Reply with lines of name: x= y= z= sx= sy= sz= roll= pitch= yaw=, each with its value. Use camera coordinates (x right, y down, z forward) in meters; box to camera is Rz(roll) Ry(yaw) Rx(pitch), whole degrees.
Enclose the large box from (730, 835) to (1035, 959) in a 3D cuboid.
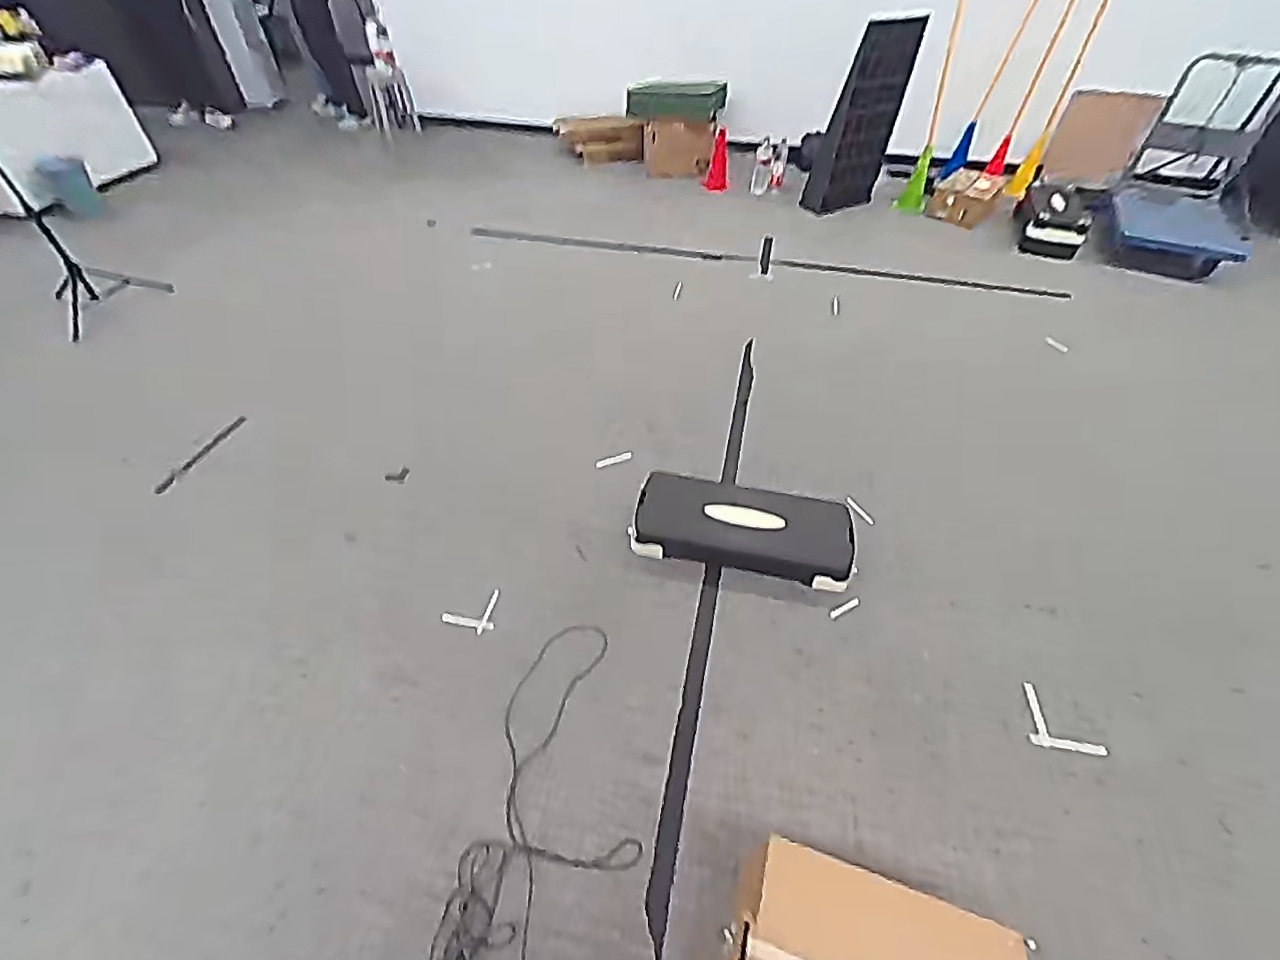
large box: x=0.362 y=0.848 z=0.881 sx=0.408 sy=0.320 sz=0.320 roll=15 pitch=49 yaw=11
